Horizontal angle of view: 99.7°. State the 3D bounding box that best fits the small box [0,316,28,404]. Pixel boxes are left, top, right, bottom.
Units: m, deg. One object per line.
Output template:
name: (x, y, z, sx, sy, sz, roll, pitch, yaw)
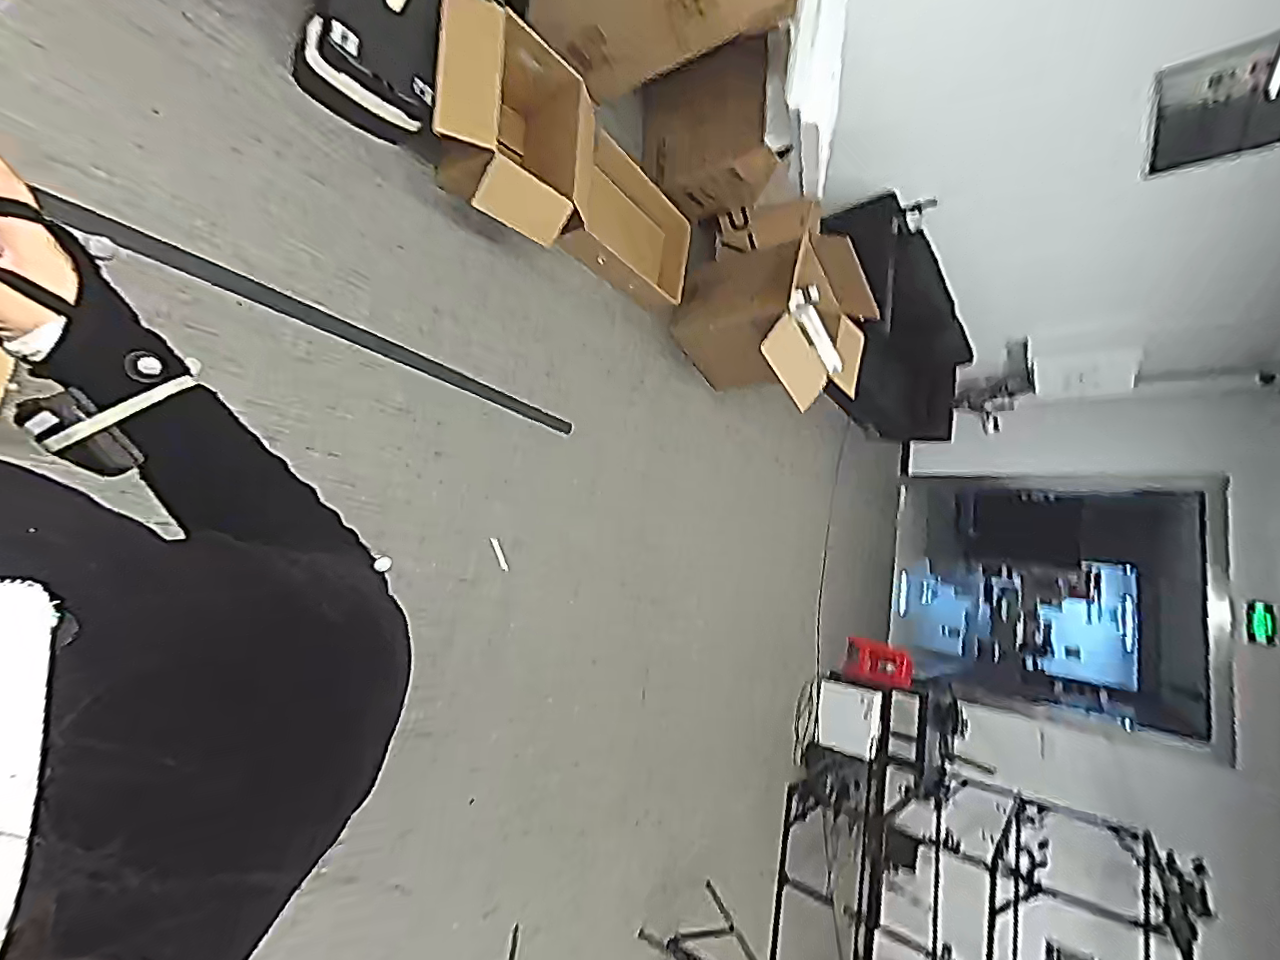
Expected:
small box: (-1.158, -0.201, 0.889, 0.168, 0.176, 0.179, 22, 75, -49)
